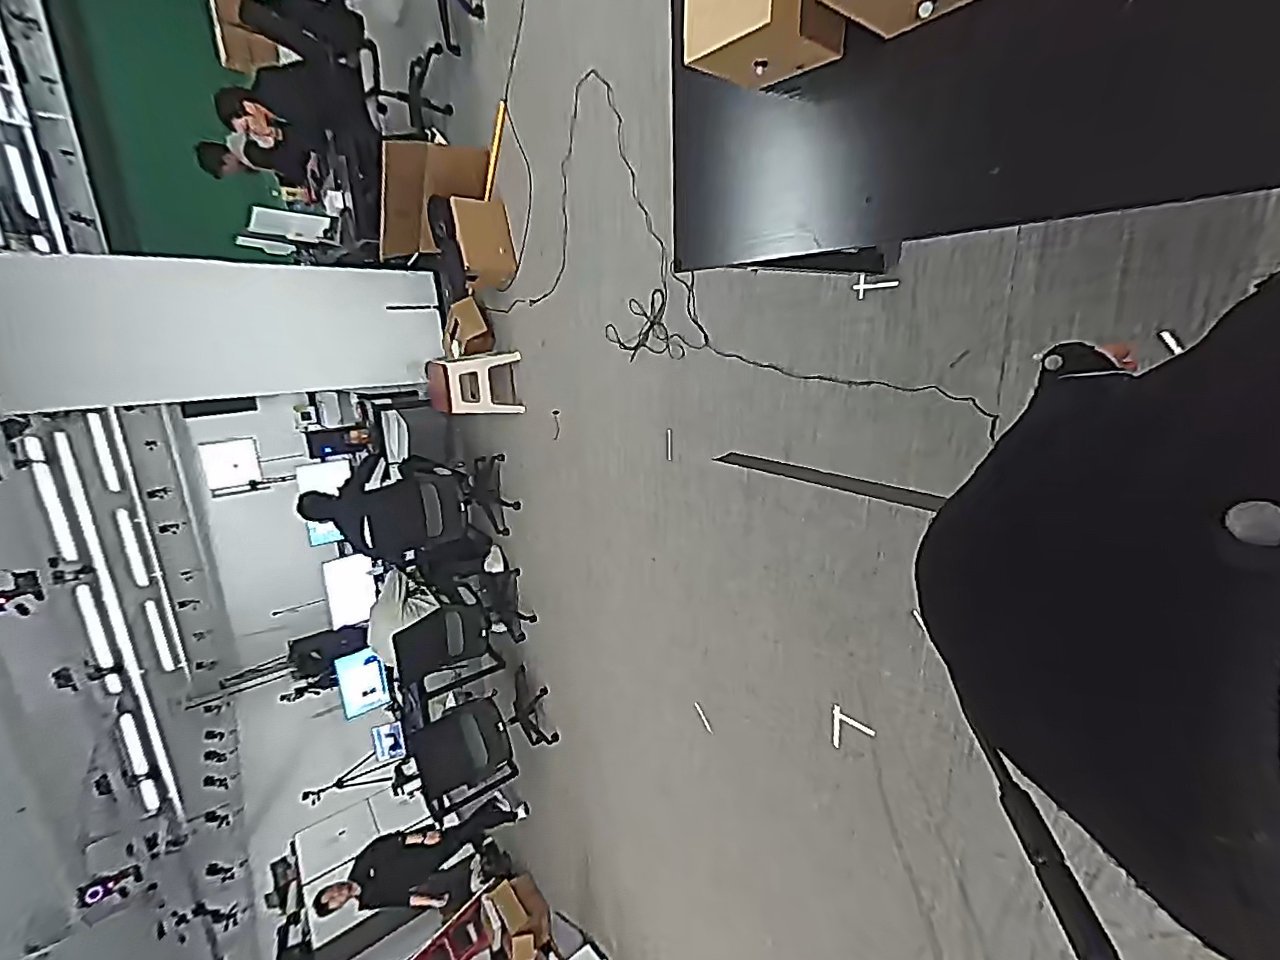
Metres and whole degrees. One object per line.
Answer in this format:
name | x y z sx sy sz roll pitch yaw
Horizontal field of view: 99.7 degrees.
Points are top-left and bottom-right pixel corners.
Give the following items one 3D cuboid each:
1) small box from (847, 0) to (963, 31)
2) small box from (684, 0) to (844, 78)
small box | 0.317 -0.656 0.603 0.168 0.176 0.179 16 115 50
small box | 0.180 -0.707 0.773 0.168 0.176 0.179 21 117 48
